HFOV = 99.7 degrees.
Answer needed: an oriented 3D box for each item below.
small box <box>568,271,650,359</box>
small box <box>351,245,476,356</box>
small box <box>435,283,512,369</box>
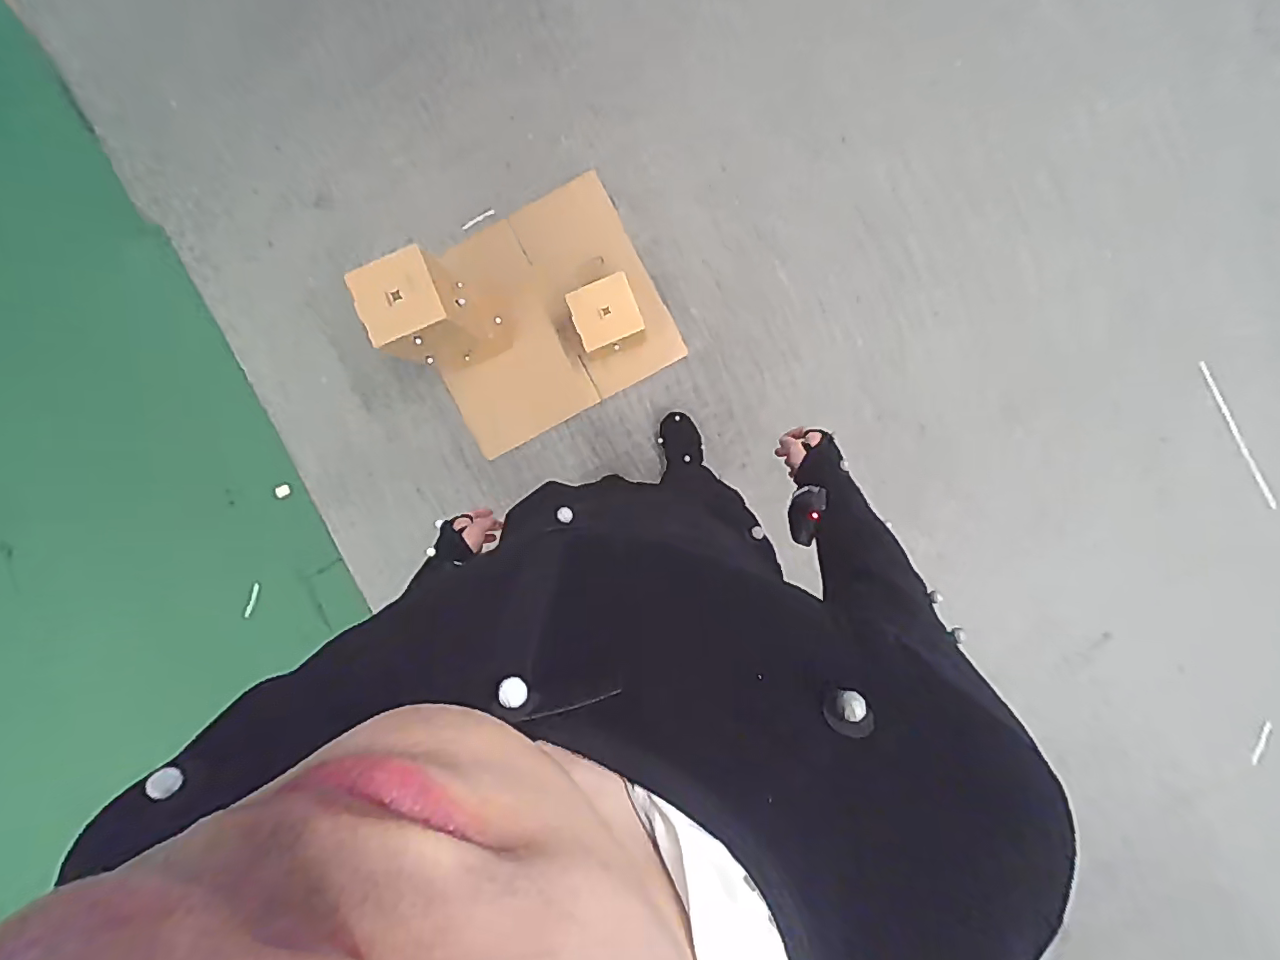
[{"bbox_3d":[-0.080,-0.456,1.522,0.179,0.176,0.168,-22,92,6],"label":"small box"},{"bbox_3d":[-0.503,-0.394,1.223,0.179,0.176,0.168,-21,94,5],"label":"small box"},{"bbox_3d":[-0.493,-0.432,1.548,0.179,0.176,0.168,-23,93,4],"label":"small box"}]
